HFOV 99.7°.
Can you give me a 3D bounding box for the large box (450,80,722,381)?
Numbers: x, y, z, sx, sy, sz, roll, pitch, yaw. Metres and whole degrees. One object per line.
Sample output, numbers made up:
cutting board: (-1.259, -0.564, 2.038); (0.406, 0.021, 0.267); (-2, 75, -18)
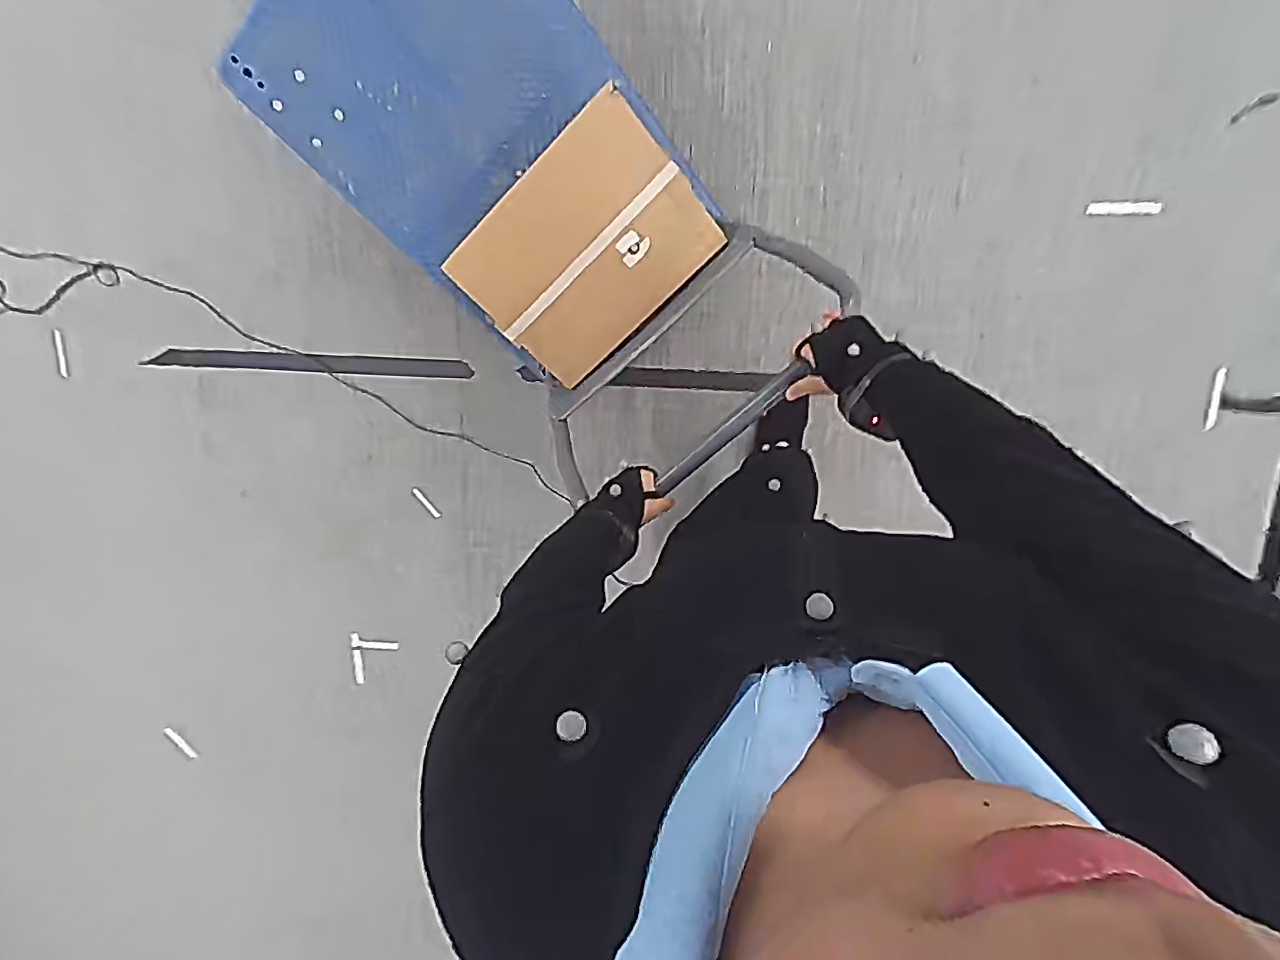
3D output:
large box: (-0.114, -0.480, 1.089); (0.408, 0.320, 0.320); (-42, 118, 12)
